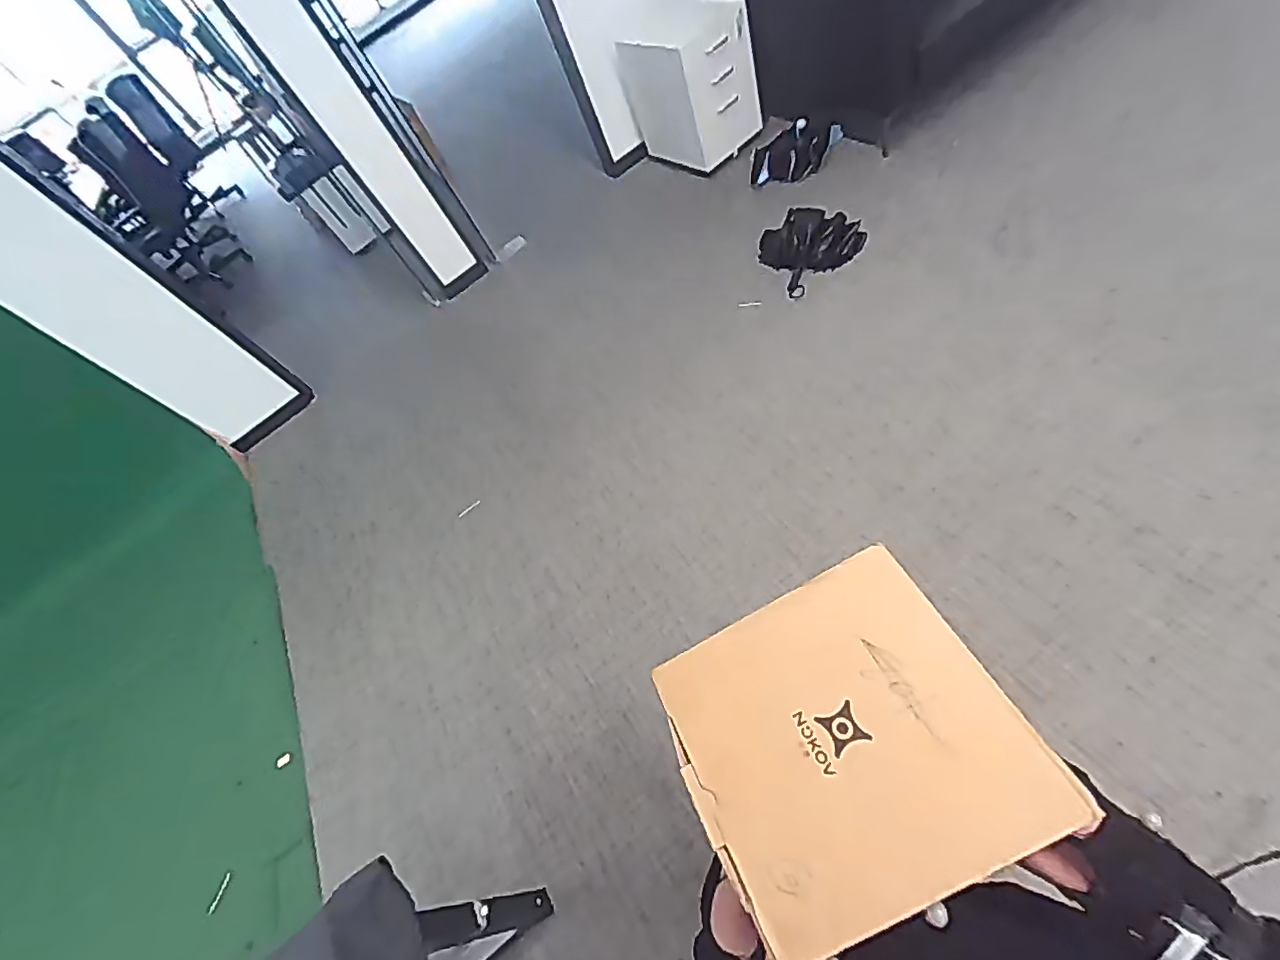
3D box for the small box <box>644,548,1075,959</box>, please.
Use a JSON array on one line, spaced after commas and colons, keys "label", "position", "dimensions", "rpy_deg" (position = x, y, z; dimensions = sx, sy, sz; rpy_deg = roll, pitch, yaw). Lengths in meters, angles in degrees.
[{"label": "small box", "position": [0.133, 0.182, 0.371], "dimensions": [0.179, 0.176, 0.168], "rpy_deg": [-31, 55, 3]}]
